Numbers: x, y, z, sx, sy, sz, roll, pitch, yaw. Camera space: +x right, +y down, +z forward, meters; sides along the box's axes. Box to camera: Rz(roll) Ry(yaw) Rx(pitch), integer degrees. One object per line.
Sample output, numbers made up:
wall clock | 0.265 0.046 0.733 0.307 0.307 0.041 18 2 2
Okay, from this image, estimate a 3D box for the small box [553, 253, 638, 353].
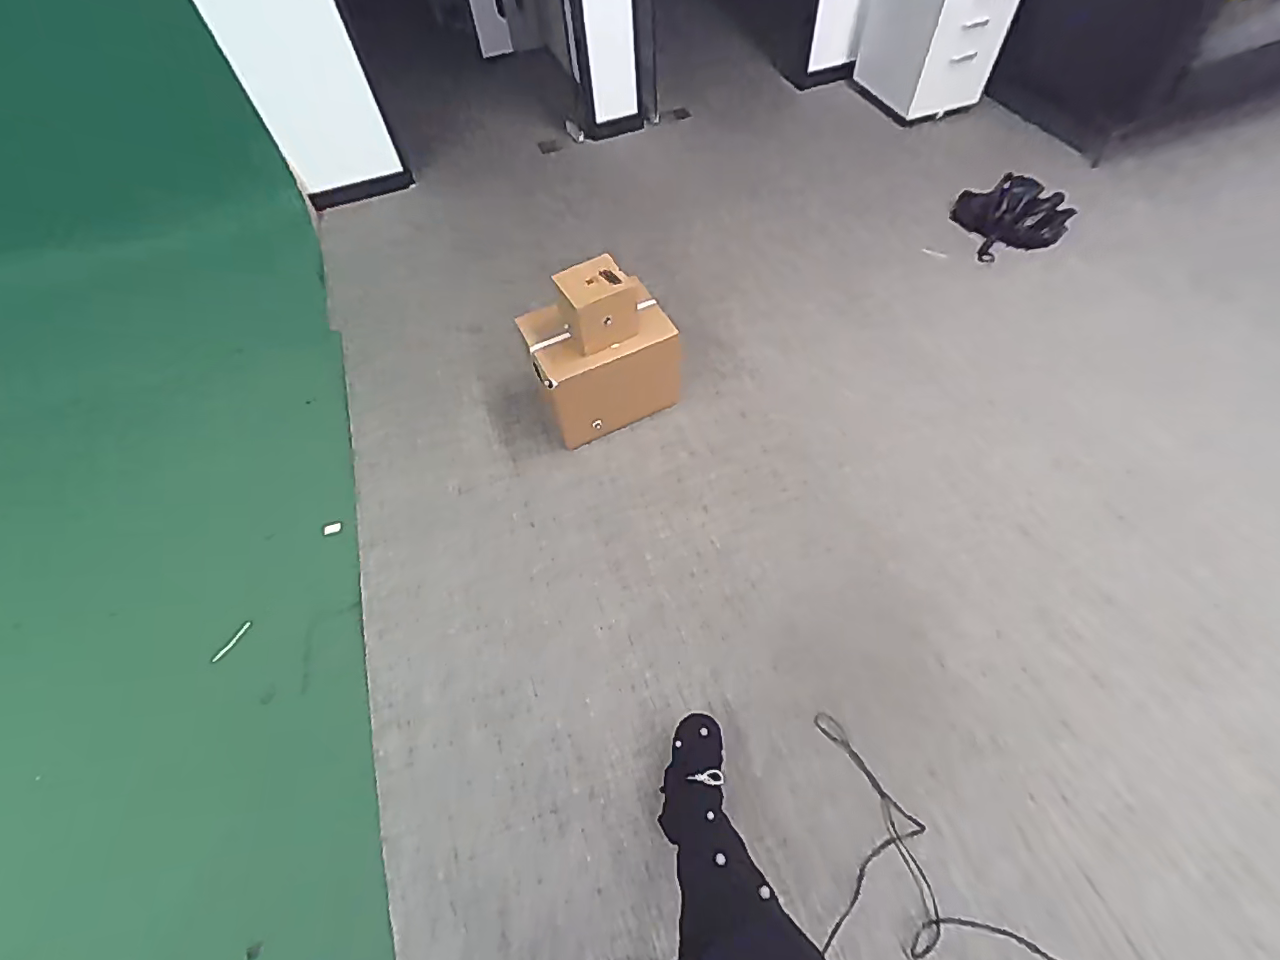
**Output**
small box | -0.119 -0.486 1.494 0.179 0.176 0.168 -29 61 -15
